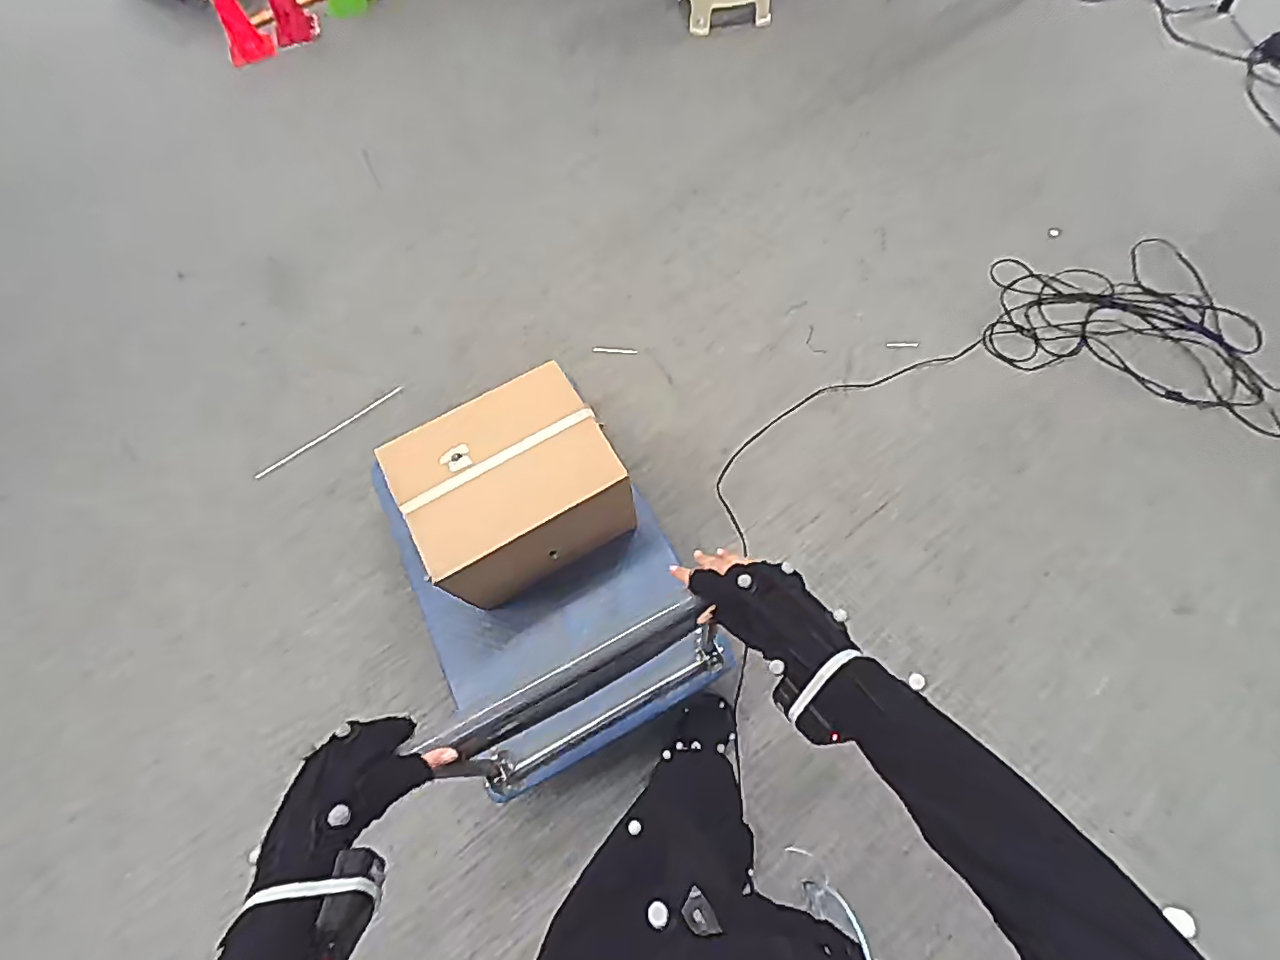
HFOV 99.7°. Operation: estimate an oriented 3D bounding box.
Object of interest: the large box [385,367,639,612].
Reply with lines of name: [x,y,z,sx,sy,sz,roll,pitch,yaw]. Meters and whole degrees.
large box: [-0.252,0.035,1.185,0.408,0.320,0.320,-31,68,-9]
